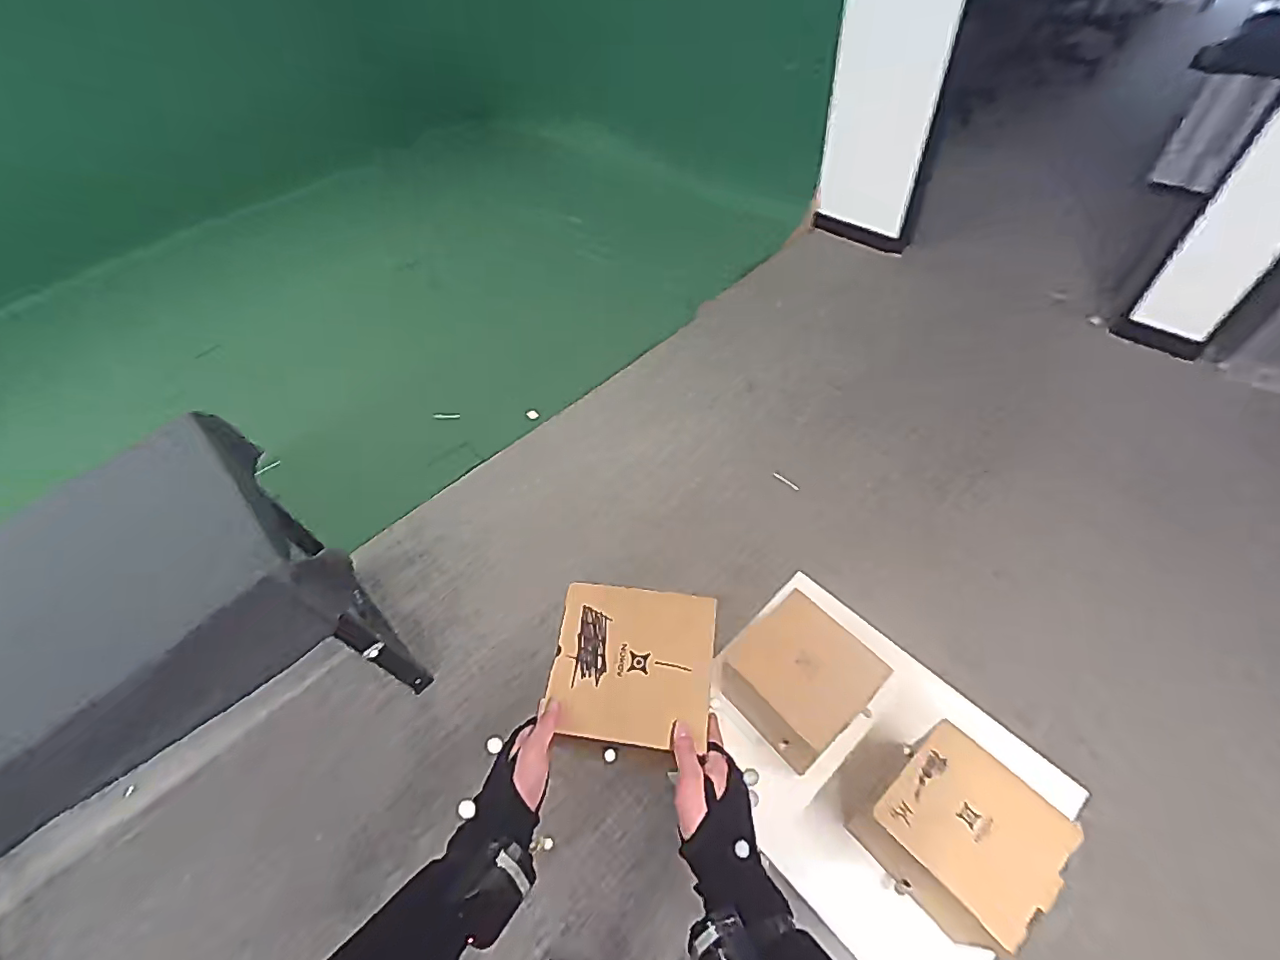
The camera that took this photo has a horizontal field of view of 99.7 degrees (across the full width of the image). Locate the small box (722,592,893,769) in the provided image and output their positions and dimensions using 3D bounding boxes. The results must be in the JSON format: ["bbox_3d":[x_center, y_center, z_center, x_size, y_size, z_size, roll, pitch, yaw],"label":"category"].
[{"bbox_3d":[0.244,0.313,0.830,0.168,0.176,0.179,-36,58,-21],"label":"small box"}]

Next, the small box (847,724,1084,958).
[{"bbox_3d":[0.403,0.457,0.702,0.168,0.176,0.179,-37,58,-20],"label":"small box"}]

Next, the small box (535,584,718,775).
[{"bbox_3d":[-0.006,0.240,0.640,0.179,0.176,0.168,6,57,6],"label":"small box"}]
